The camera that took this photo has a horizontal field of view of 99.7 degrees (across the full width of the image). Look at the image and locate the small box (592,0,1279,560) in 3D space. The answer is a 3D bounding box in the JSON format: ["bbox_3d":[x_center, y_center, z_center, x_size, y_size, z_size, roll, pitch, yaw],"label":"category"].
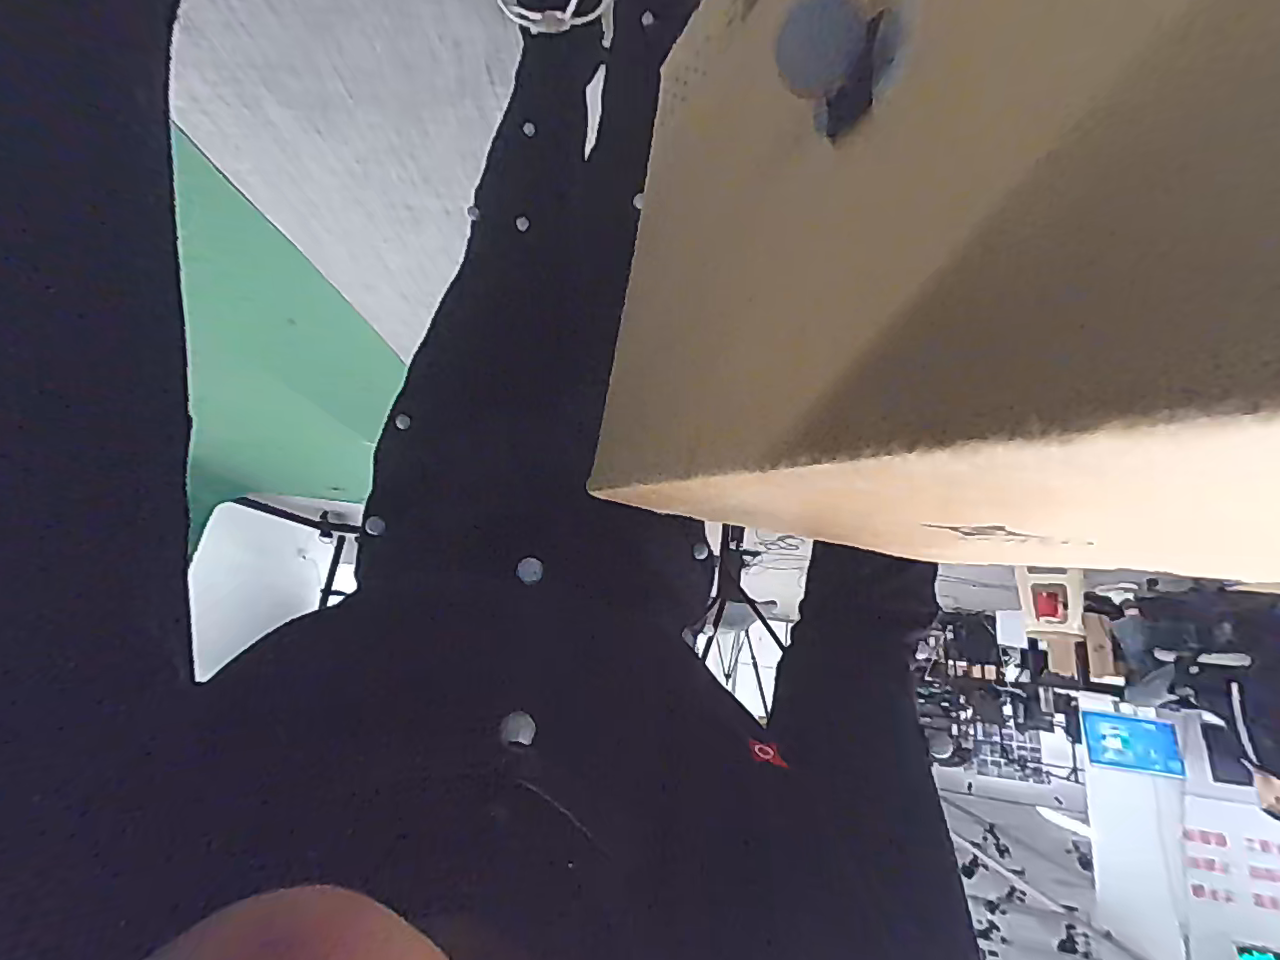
[{"bbox_3d":[0.105,-0.071,0.162,0.179,0.176,0.168,12,170,-25],"label":"small box"}]
